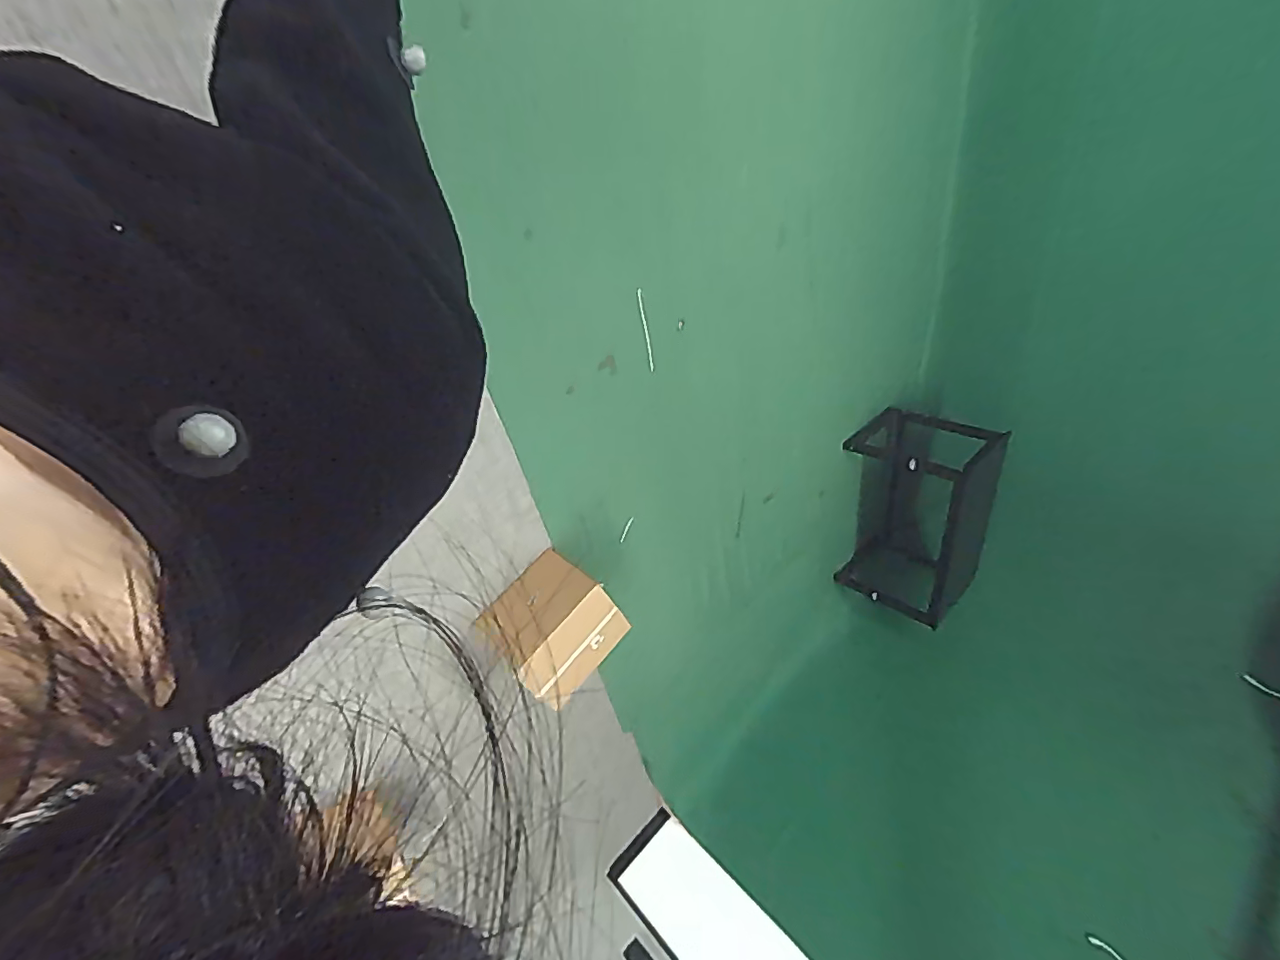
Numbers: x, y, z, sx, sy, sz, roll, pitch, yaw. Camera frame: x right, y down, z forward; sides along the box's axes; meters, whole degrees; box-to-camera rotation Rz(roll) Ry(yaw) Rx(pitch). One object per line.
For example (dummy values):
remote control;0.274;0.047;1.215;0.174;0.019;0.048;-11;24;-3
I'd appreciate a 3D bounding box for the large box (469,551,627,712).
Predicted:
large box;-0.328;0.539;1.965;0.408;0.320;0.320;-47;135;-20
